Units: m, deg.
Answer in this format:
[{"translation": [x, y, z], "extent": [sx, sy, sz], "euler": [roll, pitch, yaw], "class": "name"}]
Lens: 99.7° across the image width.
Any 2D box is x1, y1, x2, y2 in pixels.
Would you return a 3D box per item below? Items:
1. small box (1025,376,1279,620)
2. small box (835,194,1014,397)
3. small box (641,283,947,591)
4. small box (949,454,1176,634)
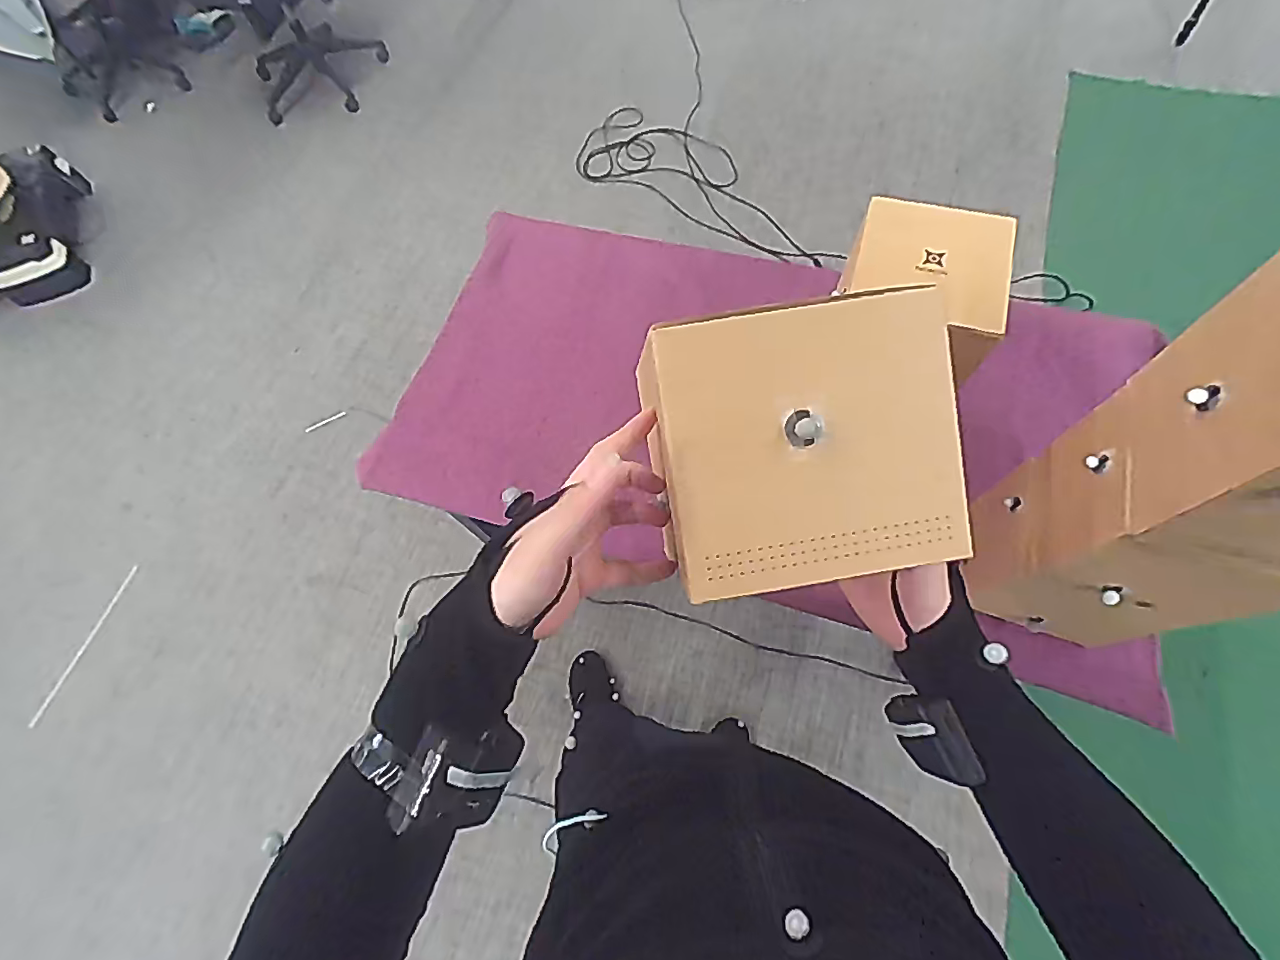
[{"translation": [0.540, 0.026, 0.565], "extent": [0.168, 0.176, 0.179], "euler": [18, 69, 13], "class": "small box"}, {"translation": [0.336, -0.219, 0.687], "extent": [0.168, 0.176, 0.179], "euler": [16, 70, 10], "class": "small box"}, {"translation": [0.099, -0.029, 0.399], "extent": [0.179, 0.168, 0.176], "euler": [-8, 94, -2], "class": "small box"}, {"translation": [0.548, 0.093, 0.714], "extent": [0.179, 0.176, 0.168], "euler": [19, 69, 12], "class": "small box"}]
